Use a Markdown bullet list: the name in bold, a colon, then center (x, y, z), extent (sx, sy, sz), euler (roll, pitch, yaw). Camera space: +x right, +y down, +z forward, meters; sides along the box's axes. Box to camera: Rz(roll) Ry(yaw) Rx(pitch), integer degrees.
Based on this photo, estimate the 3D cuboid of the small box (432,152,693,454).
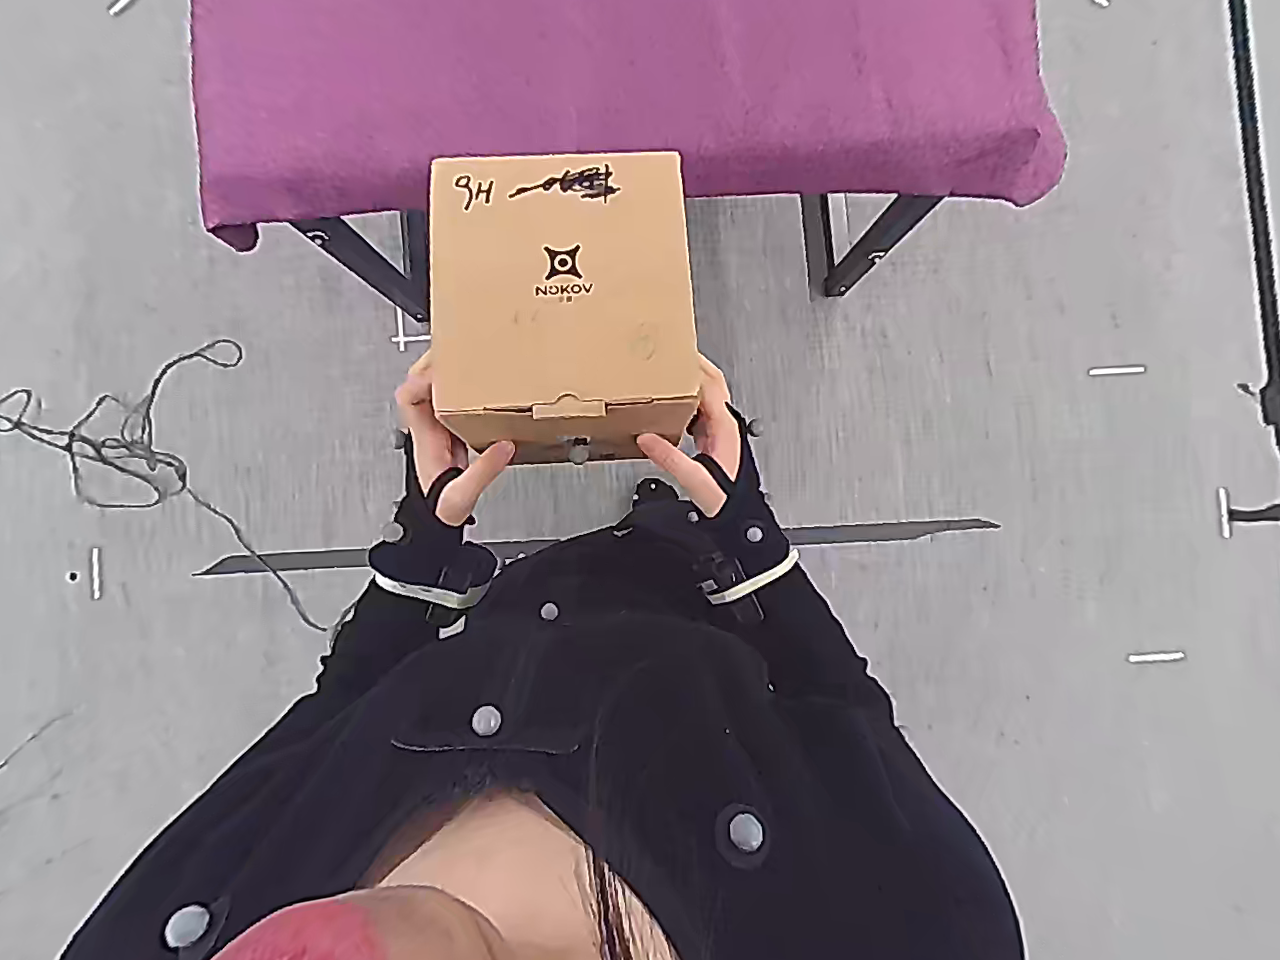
- **small box**: center (-0.054, -0.119, 0.427), extent (0.168, 0.176, 0.179), euler (-3, 81, -3)
